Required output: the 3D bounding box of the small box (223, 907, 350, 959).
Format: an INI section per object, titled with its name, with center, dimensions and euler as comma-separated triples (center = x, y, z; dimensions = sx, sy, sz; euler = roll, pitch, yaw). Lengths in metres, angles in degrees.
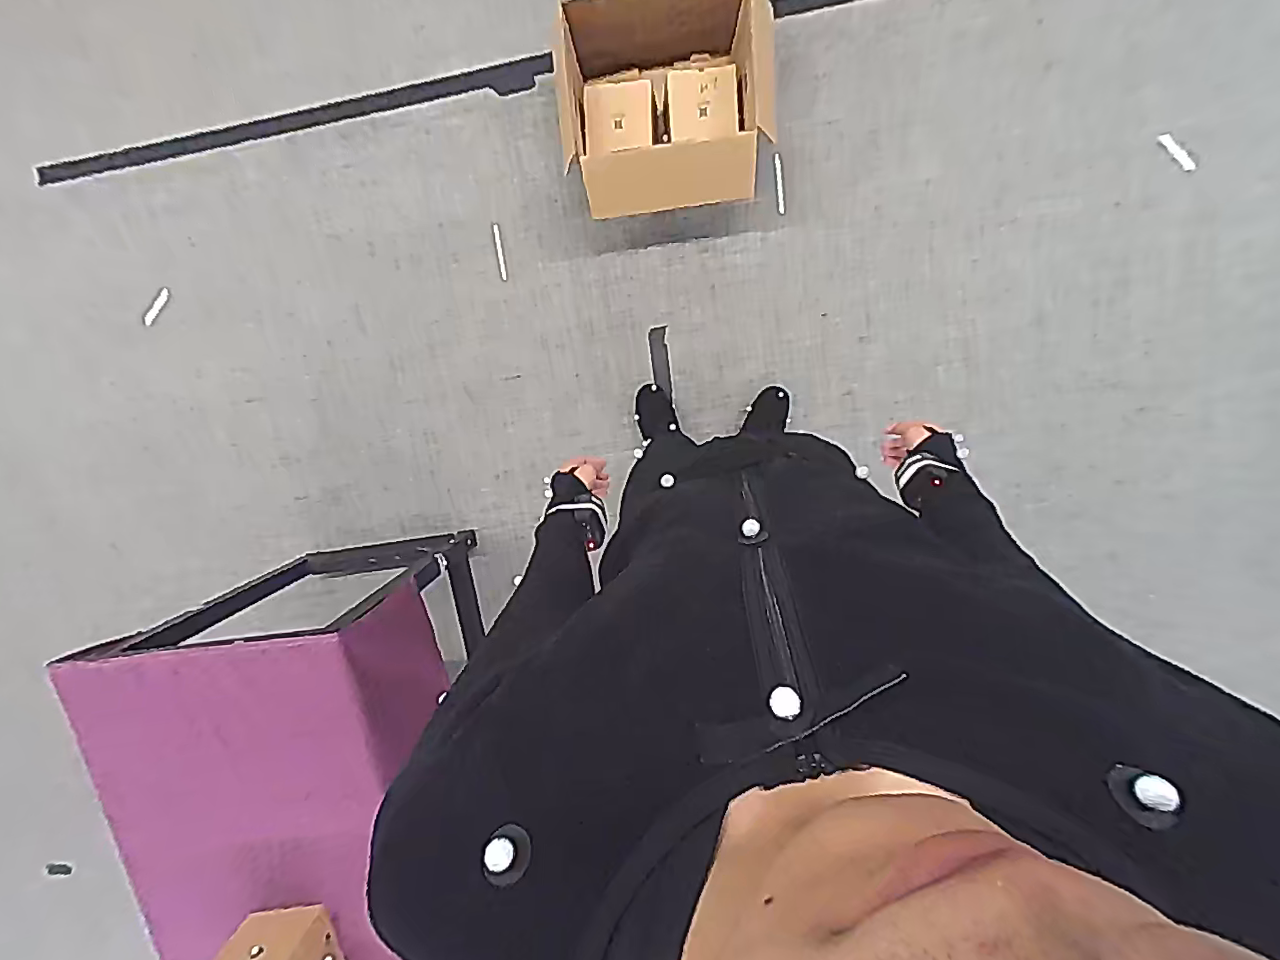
[small box]
center = -0.711, 0.986, 1.058
dimensions = 0.179, 0.176, 0.168
euler = -12, 100, 5
